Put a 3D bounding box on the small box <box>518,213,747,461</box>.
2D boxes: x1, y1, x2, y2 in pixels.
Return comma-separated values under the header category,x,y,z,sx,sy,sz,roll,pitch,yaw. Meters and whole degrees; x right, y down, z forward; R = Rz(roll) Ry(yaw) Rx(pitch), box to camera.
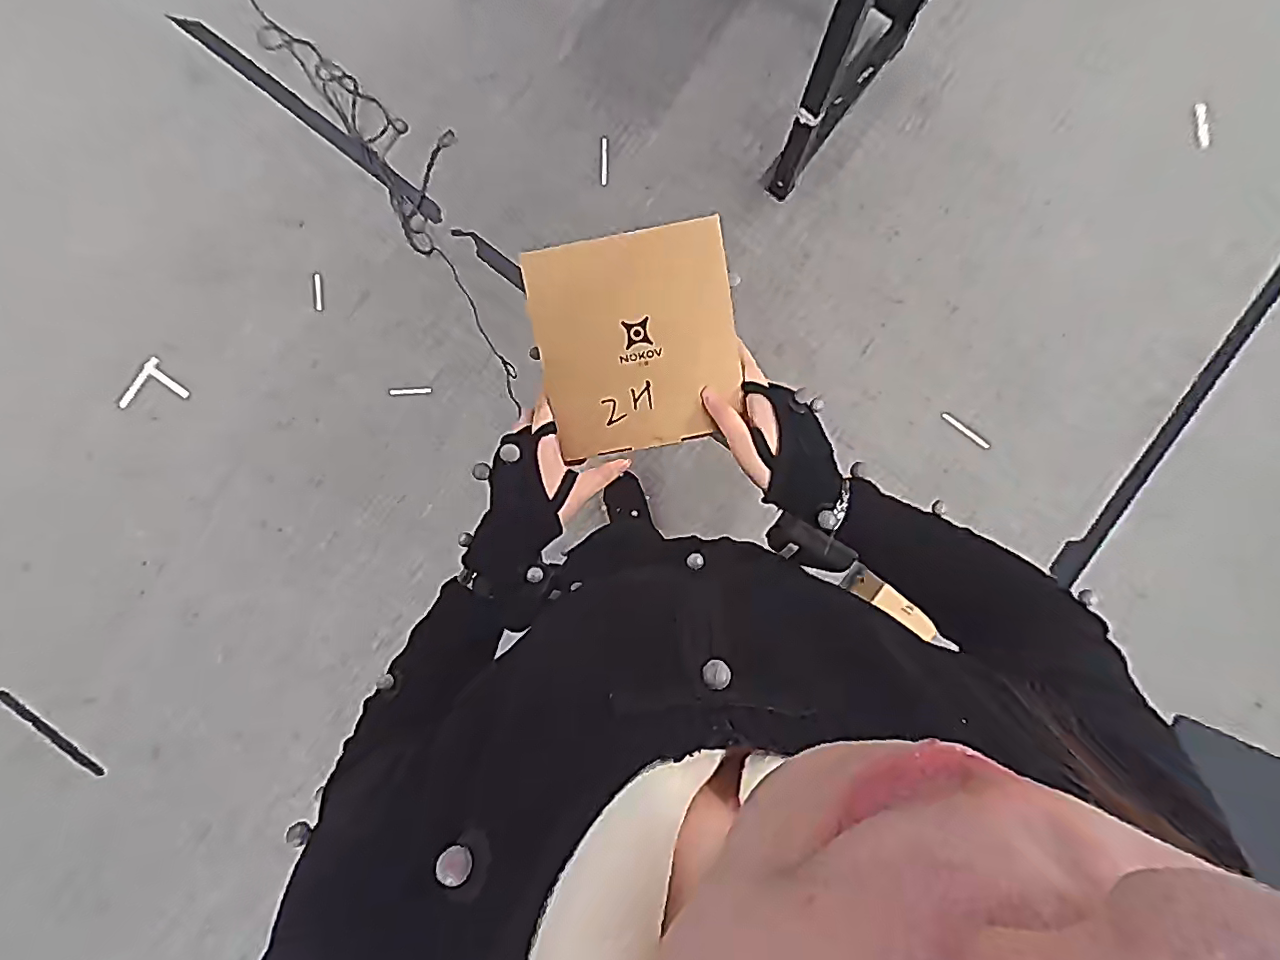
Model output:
category,x,y,z,sx,sy,sz,roll,pitch,yaw
small box,-0.005,-0.126,0.514,0.168,0.176,0.179,-10,101,2
